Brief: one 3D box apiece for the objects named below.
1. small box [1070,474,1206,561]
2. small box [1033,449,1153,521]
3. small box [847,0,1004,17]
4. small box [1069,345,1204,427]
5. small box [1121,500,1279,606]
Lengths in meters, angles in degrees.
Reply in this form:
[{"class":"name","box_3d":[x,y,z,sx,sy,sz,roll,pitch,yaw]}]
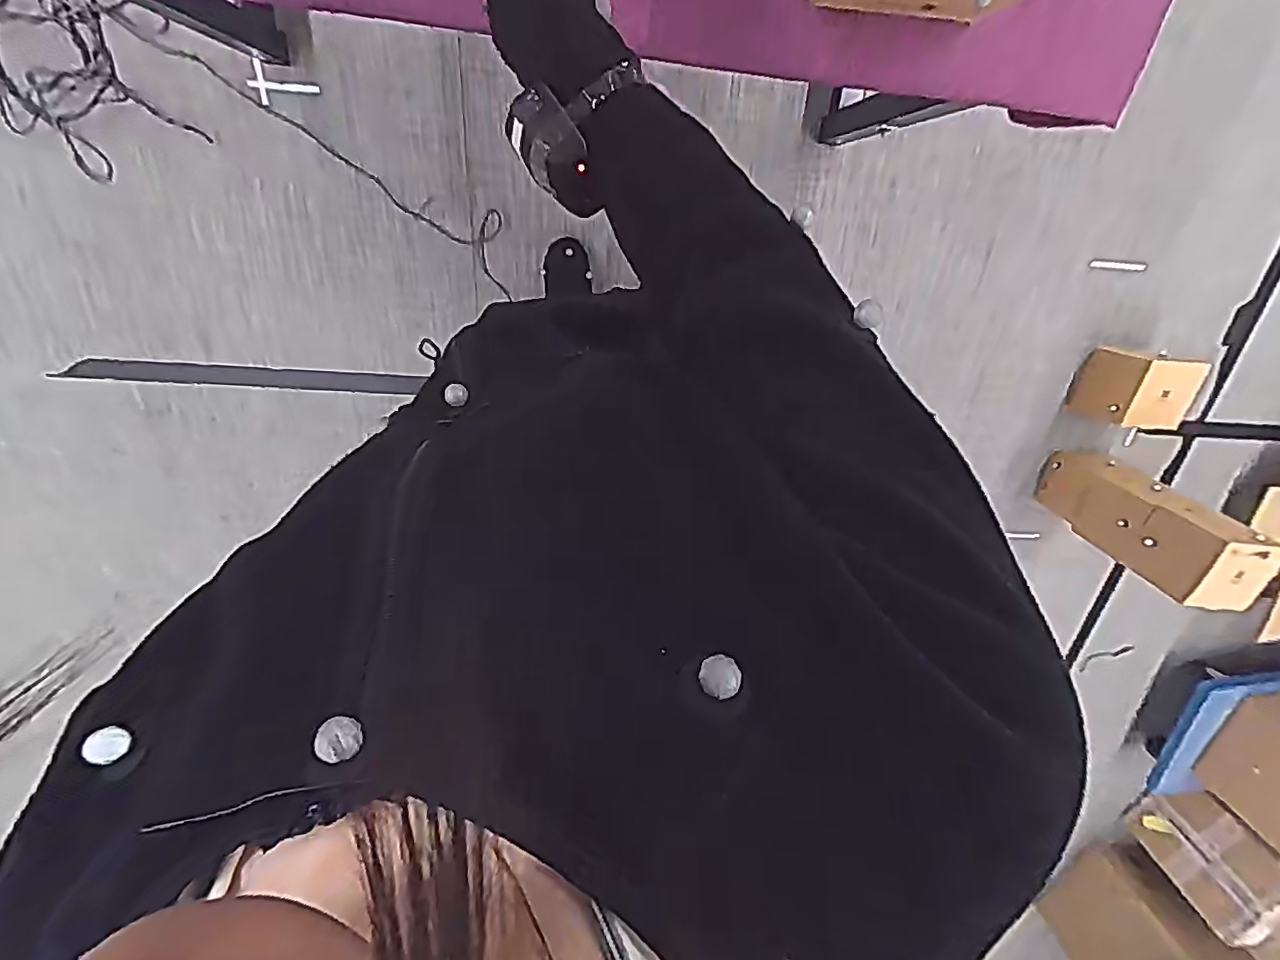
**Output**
[{"class":"small box","box_3d":[1.296,0.096,1.424,0.168,0.176,0.179,3,117,-6]},{"class":"small box","box_3d":[1.300,0.017,1.569,0.179,0.176,0.168,1,117,-6]},{"class":"small box","box_3d":[0.251,-0.479,0.398,0.168,0.176,0.179,0,116,-6]},{"class":"small box","box_3d":[1.300,-0.254,1.433,0.168,0.176,0.179,2,117,-7]},{"class":"small box","box_3d":[1.306,0.170,1.278,0.168,0.176,0.179,6,117,-8]}]
